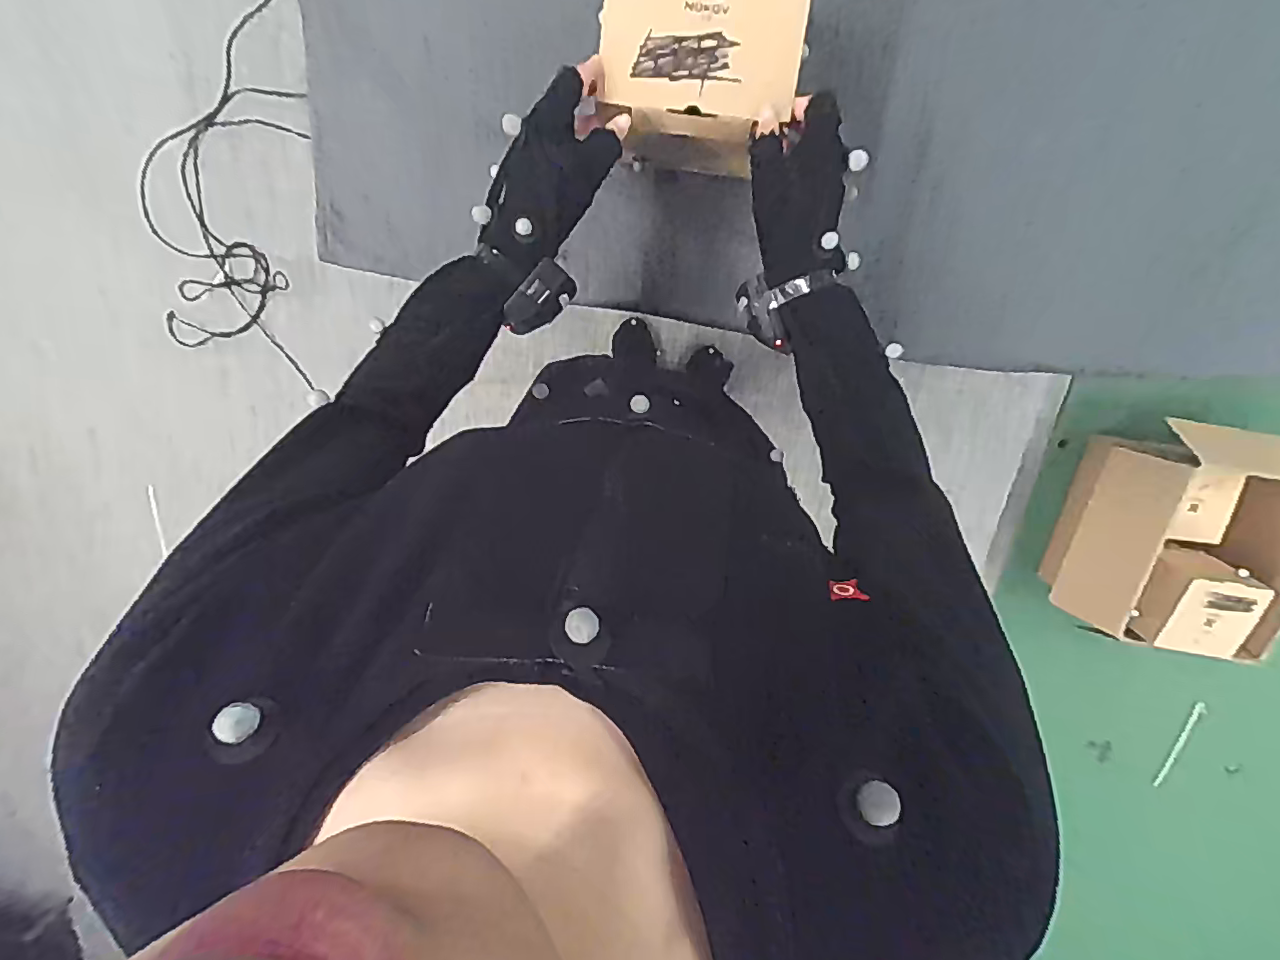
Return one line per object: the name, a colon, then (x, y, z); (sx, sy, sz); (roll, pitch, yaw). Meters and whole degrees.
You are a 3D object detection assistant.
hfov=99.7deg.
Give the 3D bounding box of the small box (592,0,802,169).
small box: (0.056, -0.414, 0.510); (0.168, 0.176, 0.179); (8, 107, 2)
